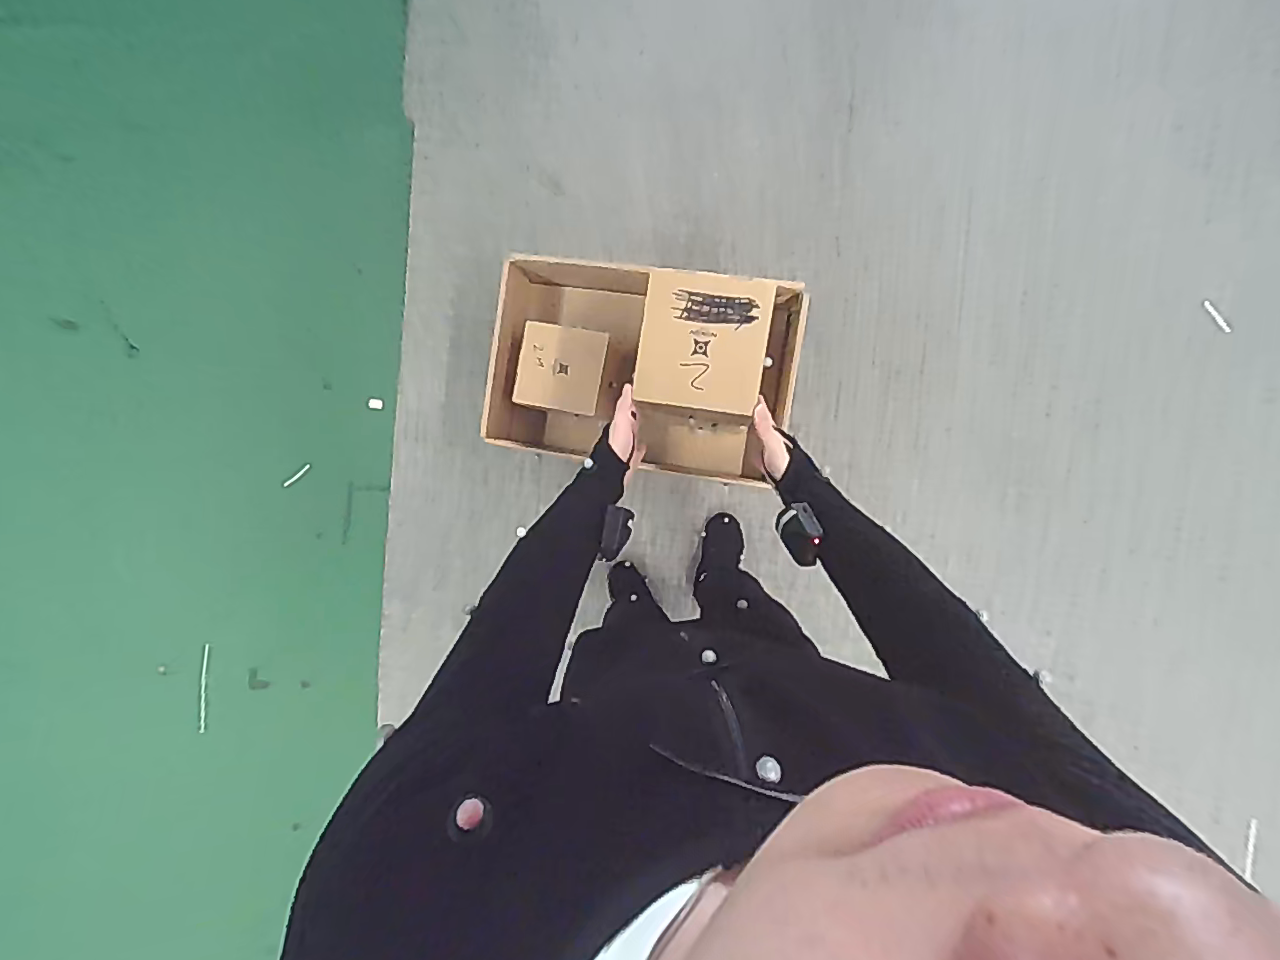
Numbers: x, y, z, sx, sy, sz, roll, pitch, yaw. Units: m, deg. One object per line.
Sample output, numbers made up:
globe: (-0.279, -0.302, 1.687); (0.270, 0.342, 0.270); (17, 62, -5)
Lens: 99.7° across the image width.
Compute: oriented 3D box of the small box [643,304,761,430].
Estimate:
small box: (0.109, -0.186, 0.942); (0.168, 0.176, 0.179); (10, 92, 7)
